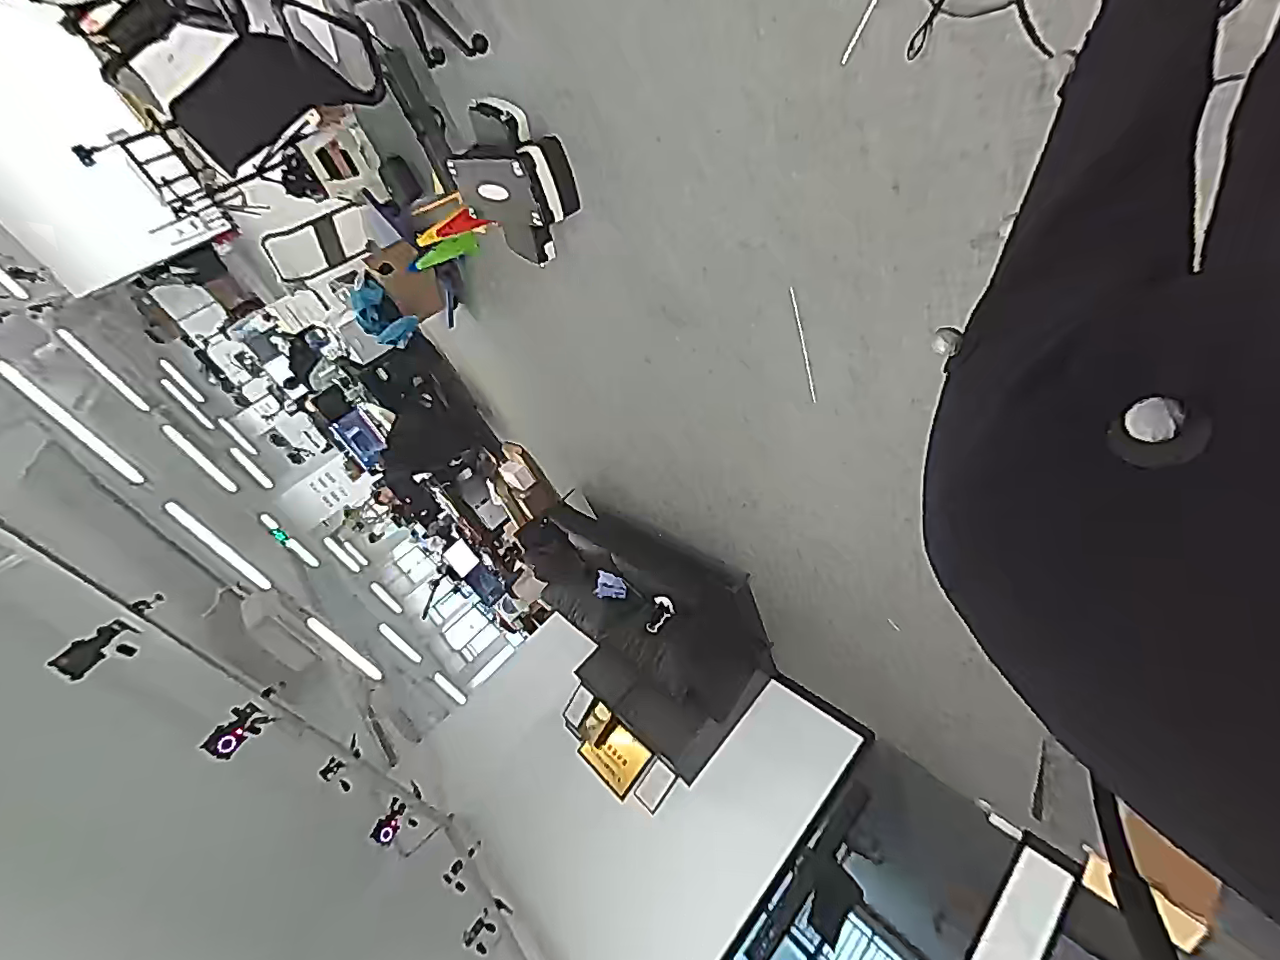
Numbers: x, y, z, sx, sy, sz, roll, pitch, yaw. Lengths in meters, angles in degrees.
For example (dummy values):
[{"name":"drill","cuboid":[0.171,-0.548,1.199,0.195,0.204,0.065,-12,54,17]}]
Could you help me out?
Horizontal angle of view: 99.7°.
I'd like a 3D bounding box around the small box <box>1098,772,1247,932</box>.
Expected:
[{"name":"small box","cuboid":[1.043,0.724,1.065,0.168,0.176,0.179,21,147,48]}]
